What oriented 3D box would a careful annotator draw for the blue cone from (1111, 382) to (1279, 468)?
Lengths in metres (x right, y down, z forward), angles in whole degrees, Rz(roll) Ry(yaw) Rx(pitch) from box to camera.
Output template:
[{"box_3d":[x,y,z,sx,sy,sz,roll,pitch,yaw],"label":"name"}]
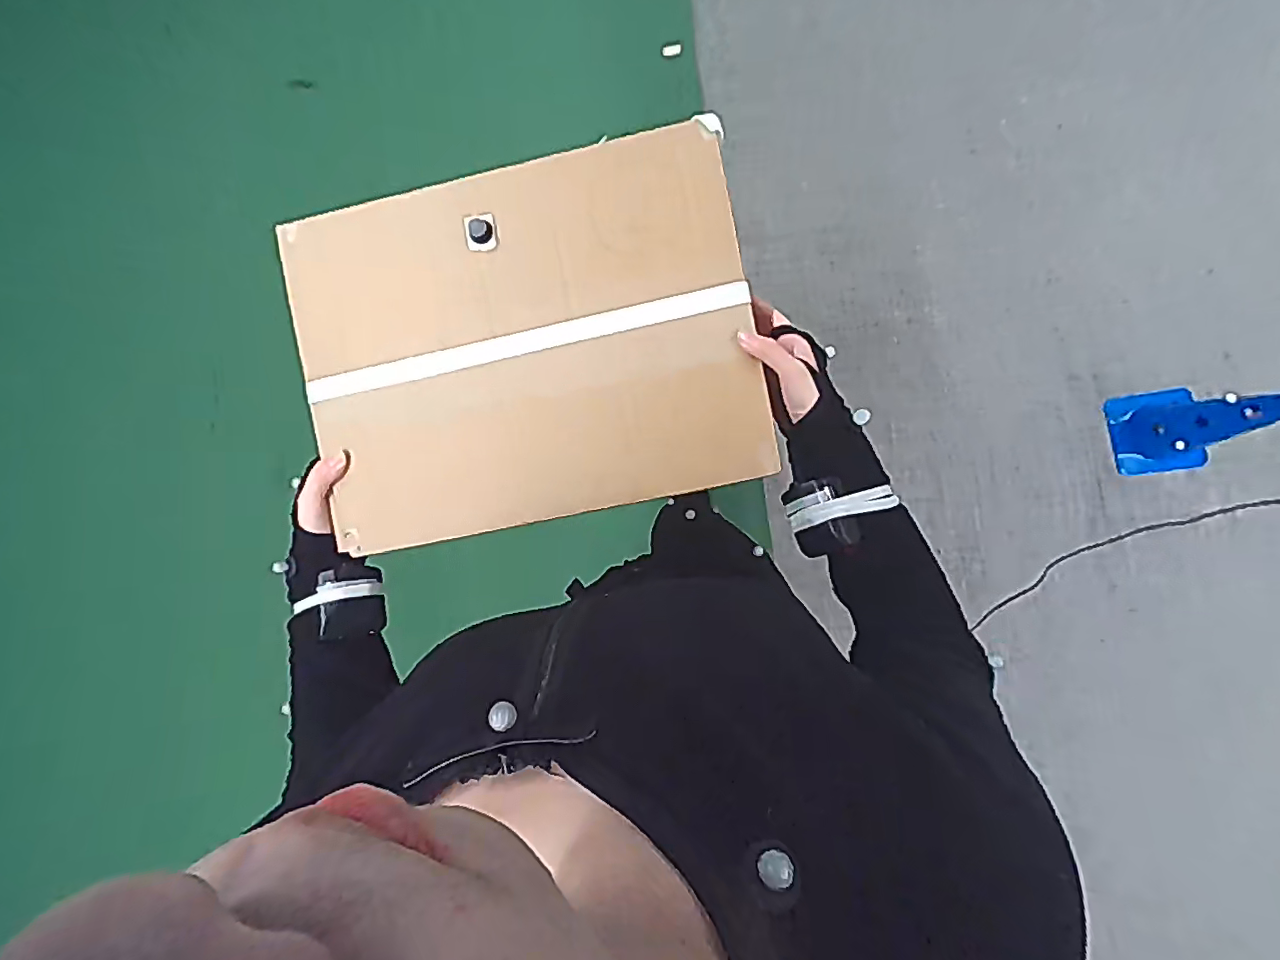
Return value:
[{"box_3d":[1.259,-0.147,1.174,0.192,0.380,0.193,-11,83,7],"label":"blue cone"}]
